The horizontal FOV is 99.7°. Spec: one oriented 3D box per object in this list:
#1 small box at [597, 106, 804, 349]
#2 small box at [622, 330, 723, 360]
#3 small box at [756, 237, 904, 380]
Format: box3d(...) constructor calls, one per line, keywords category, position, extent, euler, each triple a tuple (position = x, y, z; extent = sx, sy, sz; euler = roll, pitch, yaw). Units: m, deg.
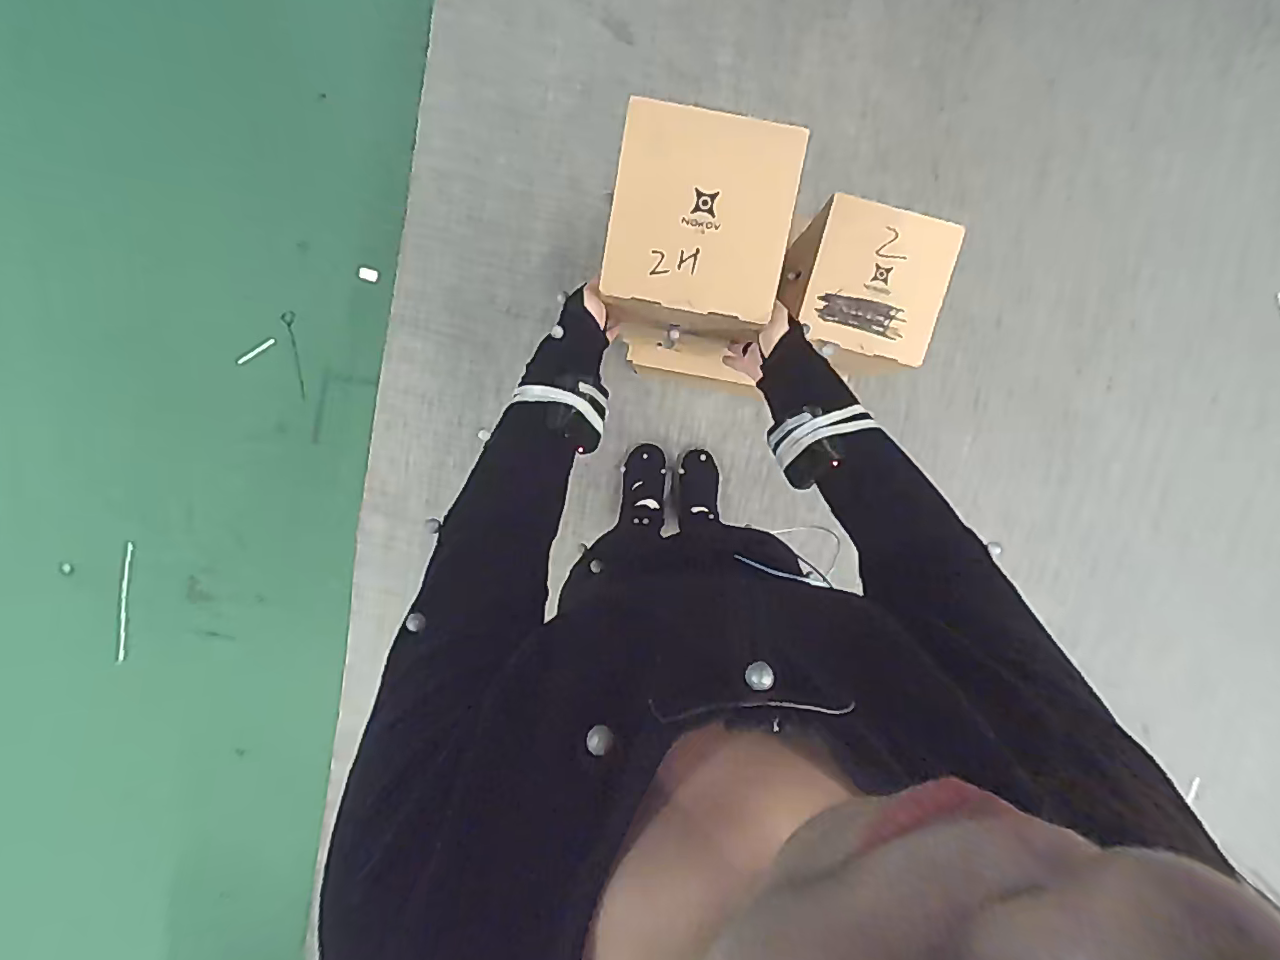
box3d(category="small box", position=(0.055, -0.247, 0.574), extent=(0.168, 0.176, 0.179), euler=(10, 98, 0))
box3d(category="small box", position=(0.065, -0.307, 0.902), extent=(0.168, 0.176, 0.179), euler=(12, 99, -1))
box3d(category="small box", position=(0.300, -0.272, 0.900), extent=(0.168, 0.176, 0.179), euler=(15, 97, 0))
